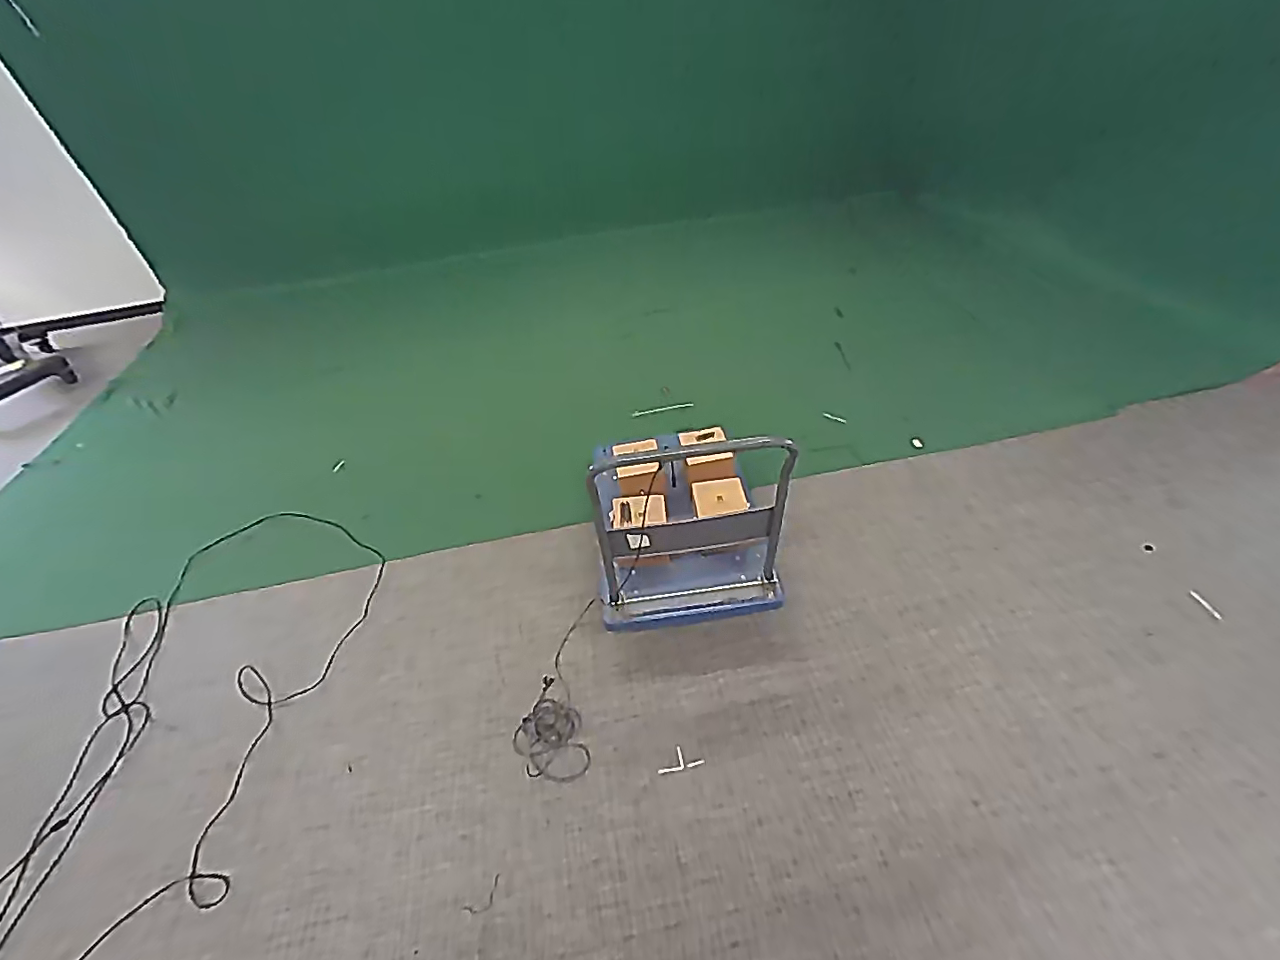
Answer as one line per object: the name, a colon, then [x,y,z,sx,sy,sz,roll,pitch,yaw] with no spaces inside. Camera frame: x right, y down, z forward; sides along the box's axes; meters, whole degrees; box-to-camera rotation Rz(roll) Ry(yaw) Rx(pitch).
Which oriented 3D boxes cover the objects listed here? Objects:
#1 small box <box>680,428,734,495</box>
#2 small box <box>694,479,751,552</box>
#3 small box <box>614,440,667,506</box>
small box: [0.250,-0.068,2.029,0.168,0.176,0.179,-11,45,-2]
small box: [0.276,0.120,1.837,0.168,0.176,0.179,-7,45,1]
small box: [0.003,-0.020,2.016,0.168,0.176,0.179,-10,44,-3]
